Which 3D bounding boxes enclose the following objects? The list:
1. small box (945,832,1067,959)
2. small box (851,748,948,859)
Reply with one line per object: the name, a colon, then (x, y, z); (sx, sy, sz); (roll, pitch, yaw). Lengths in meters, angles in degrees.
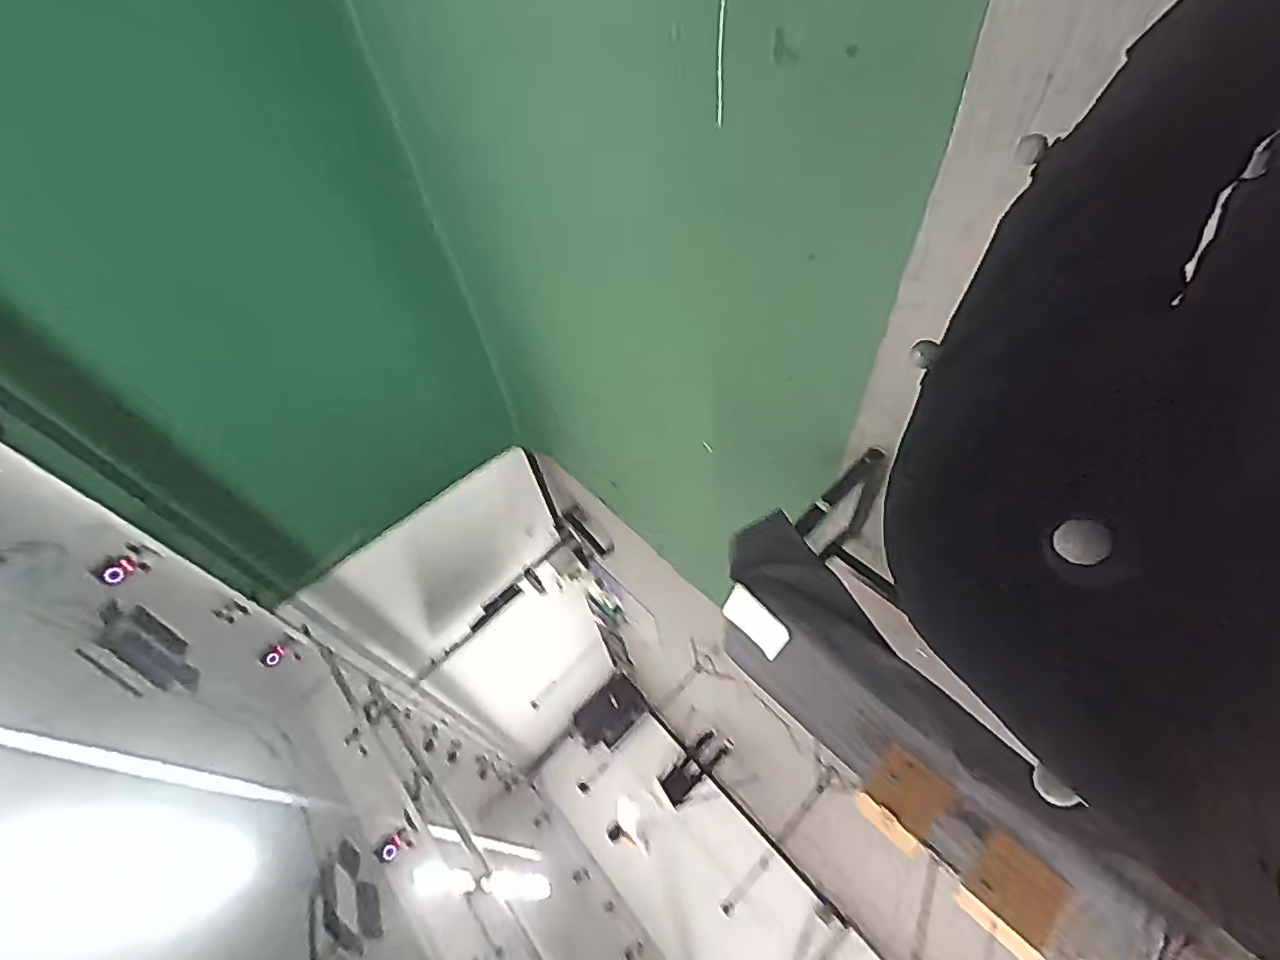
small box: (0.862, 0.986, 1.277); (0.179, 0.176, 0.168); (32, 152, 41)
small box: (0.681, 0.846, 1.424); (0.168, 0.176, 0.179); (35, 154, 40)
